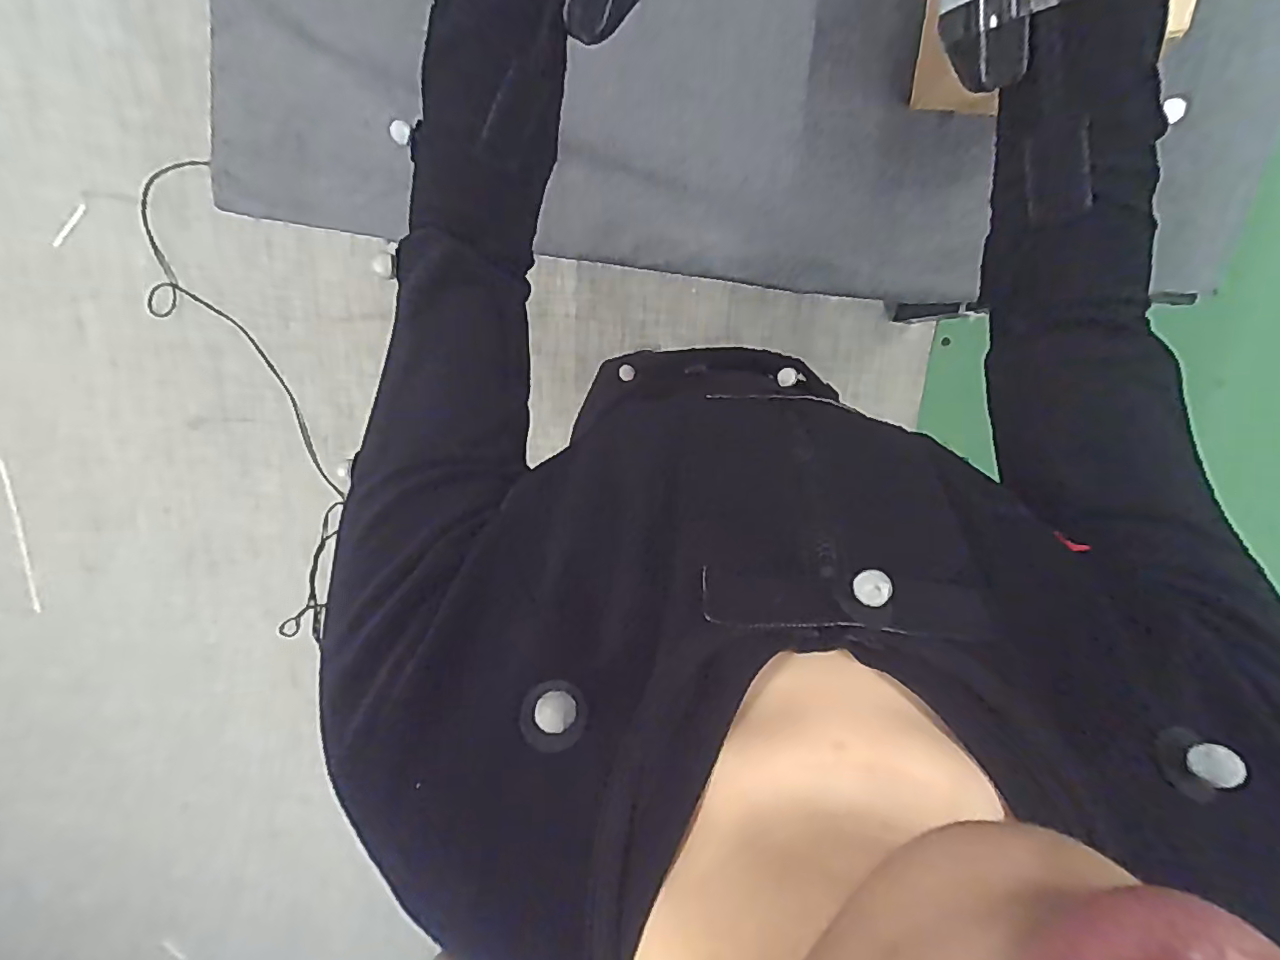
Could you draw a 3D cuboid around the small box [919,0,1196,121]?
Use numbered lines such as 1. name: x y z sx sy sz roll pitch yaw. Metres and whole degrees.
1. small box: 0.403 -0.493 0.532 0.168 0.176 0.179 5 102 1
